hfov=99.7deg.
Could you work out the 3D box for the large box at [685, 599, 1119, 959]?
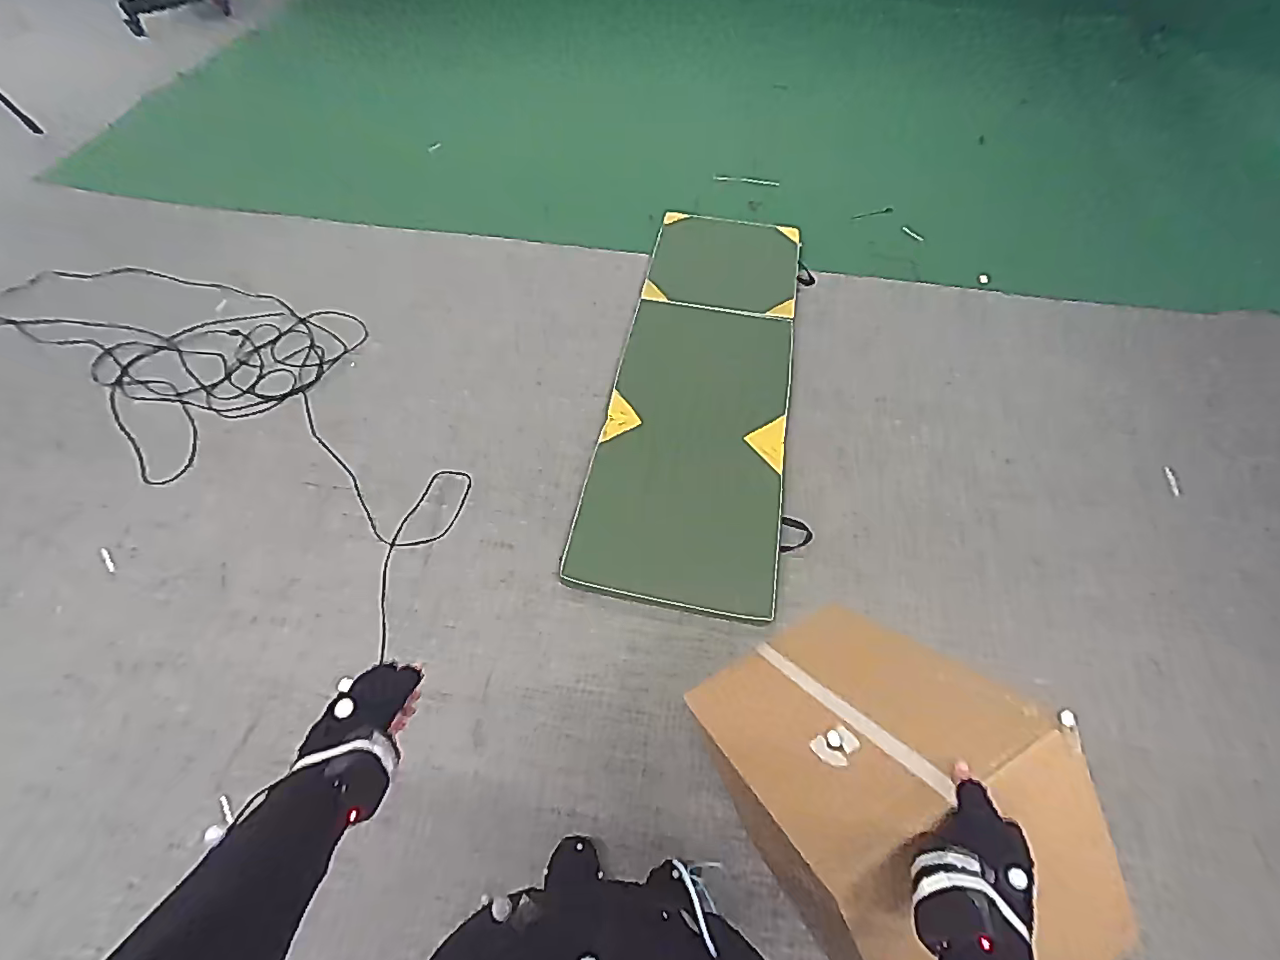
[{"bbox_3d":[0.321,0.424,0.755,0.320,0.408,0.320,-29,104,-13],"label":"large box"}]
